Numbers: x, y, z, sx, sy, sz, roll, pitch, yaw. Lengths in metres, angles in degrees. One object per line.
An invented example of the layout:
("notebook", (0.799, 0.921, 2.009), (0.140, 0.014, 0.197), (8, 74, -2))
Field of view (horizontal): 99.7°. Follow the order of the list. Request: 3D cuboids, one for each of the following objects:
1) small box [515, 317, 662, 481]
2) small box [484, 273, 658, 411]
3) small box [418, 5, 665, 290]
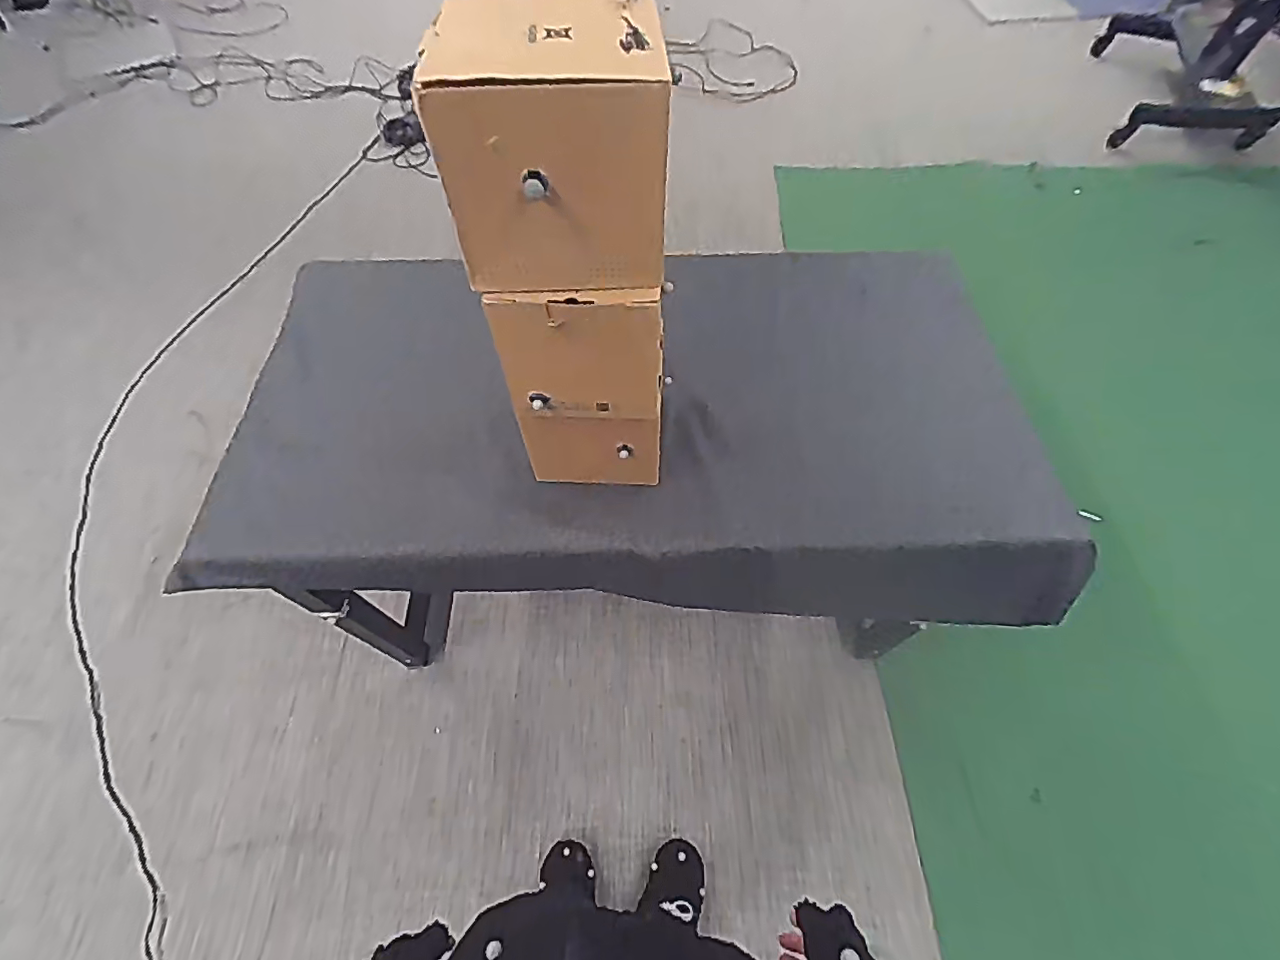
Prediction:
("small box", (-0.059, -0.110, 0.755), (0.179, 0.176, 0.168), (0, 58, 3))
("small box", (-0.064, -0.191, 0.613), (0.168, 0.176, 0.179), (-1, 59, 0))
("small box", (-0.074, -0.289, 0.484), (0.179, 0.176, 0.168), (-5, 56, -3))
